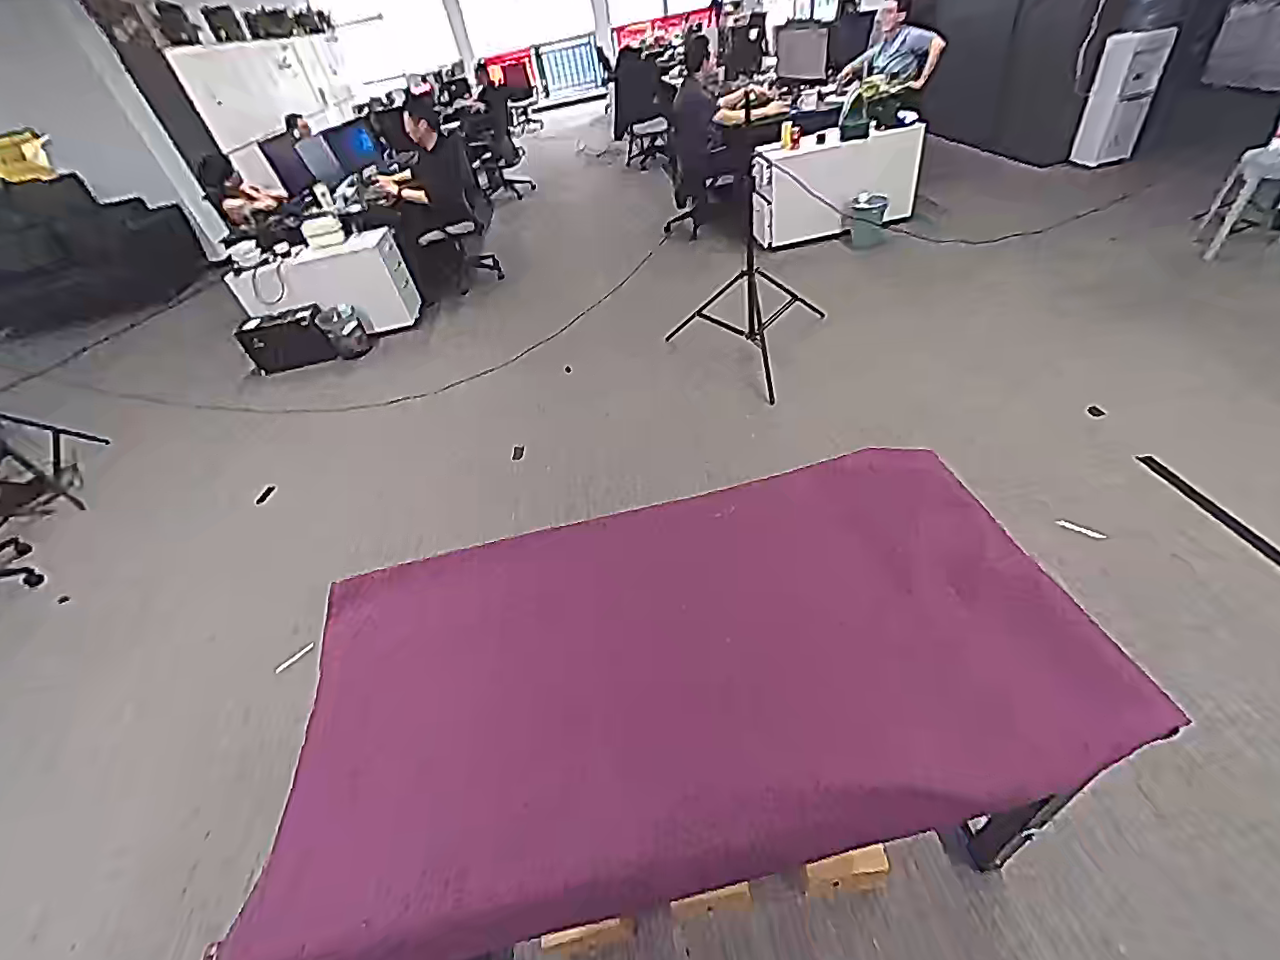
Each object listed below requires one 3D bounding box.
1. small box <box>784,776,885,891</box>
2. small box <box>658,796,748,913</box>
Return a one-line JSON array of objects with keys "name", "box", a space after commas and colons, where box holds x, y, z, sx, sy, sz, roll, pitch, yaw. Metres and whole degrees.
[{"name": "small box", "box": [0.426, 0.793, 1.208, 0.168, 0.176, 0.179, -10, 41, 3]}, {"name": "small box", "box": [0.141, 0.846, 1.215, 0.168, 0.176, 0.179, -11, 41, 0]}]
